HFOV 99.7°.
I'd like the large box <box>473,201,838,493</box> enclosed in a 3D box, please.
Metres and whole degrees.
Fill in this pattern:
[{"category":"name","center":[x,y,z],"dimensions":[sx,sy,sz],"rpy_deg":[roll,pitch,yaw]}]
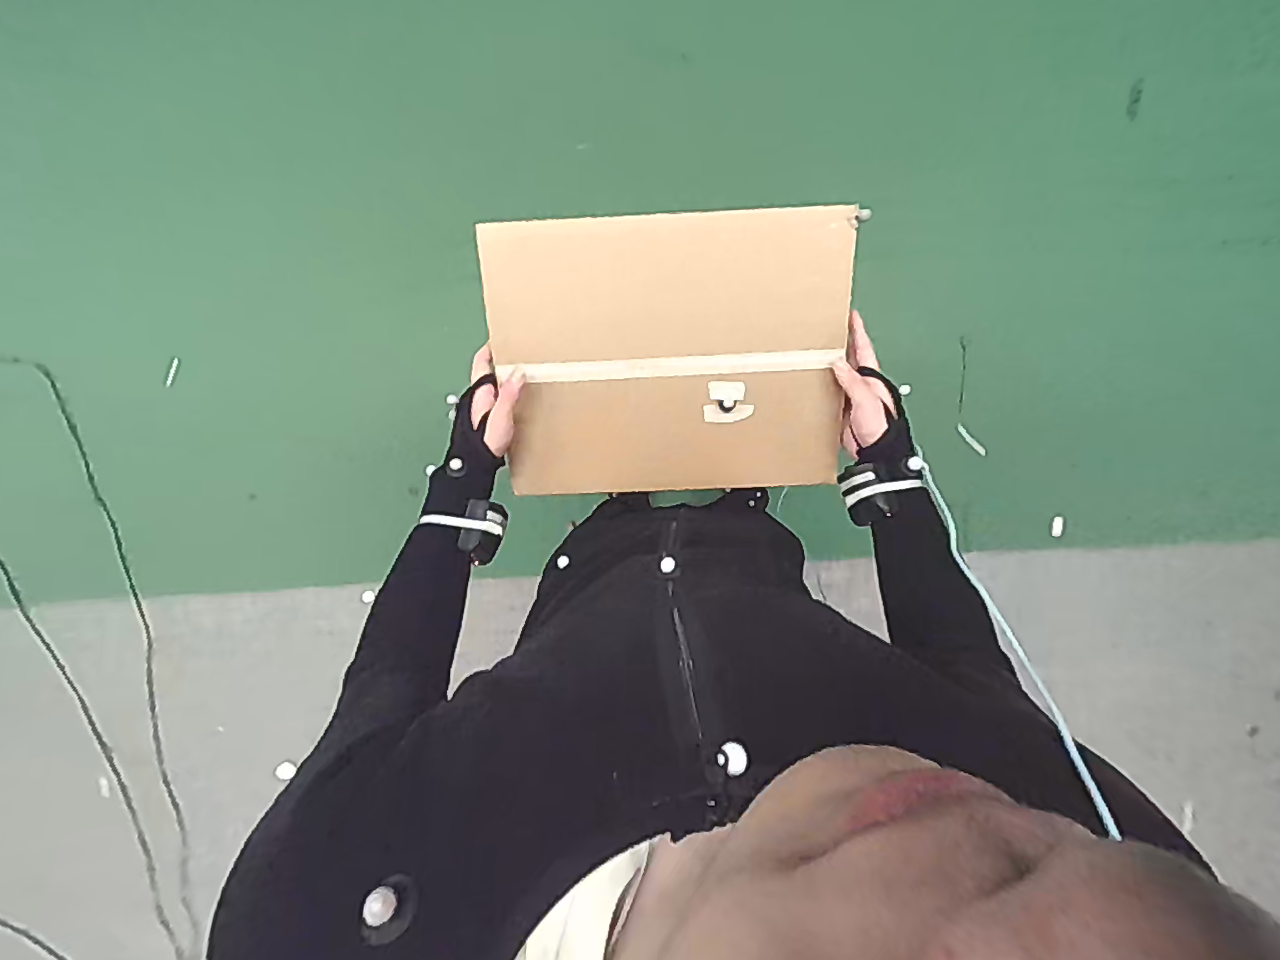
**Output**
[{"category":"large box","center":[0.024,-0.189,0.771],"dimensions":[0.408,0.320,0.320],"rpy_deg":[-3,110,1]}]
